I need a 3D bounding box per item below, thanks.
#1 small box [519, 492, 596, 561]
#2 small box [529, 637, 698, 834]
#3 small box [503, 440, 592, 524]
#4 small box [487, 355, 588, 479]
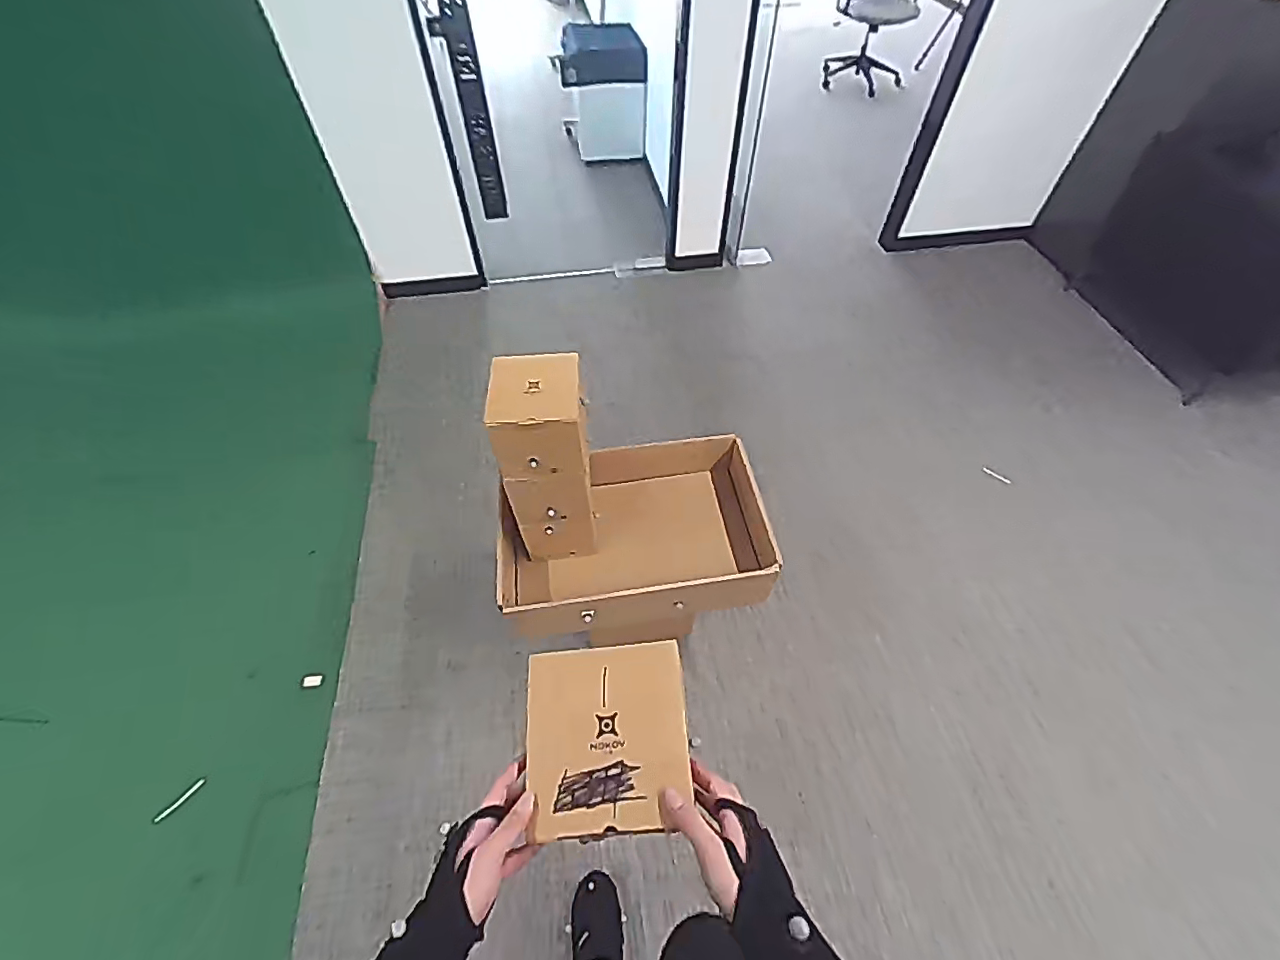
[{"bbox_3d":[-0.197,0.075,1.313,0.168,0.176,0.179,-6,54,-5],"label":"small box"},{"bbox_3d":[-0.023,0.291,0.619,0.168,0.176,0.179,-5,60,2],"label":"small box"},{"bbox_3d":[-0.195,-0.024,1.181,0.168,0.176,0.179,-4,54,-3],"label":"small box"},{"bbox_3d":[-0.191,-0.121,1.051,0.168,0.176,0.179,-3,54,-2],"label":"small box"}]
